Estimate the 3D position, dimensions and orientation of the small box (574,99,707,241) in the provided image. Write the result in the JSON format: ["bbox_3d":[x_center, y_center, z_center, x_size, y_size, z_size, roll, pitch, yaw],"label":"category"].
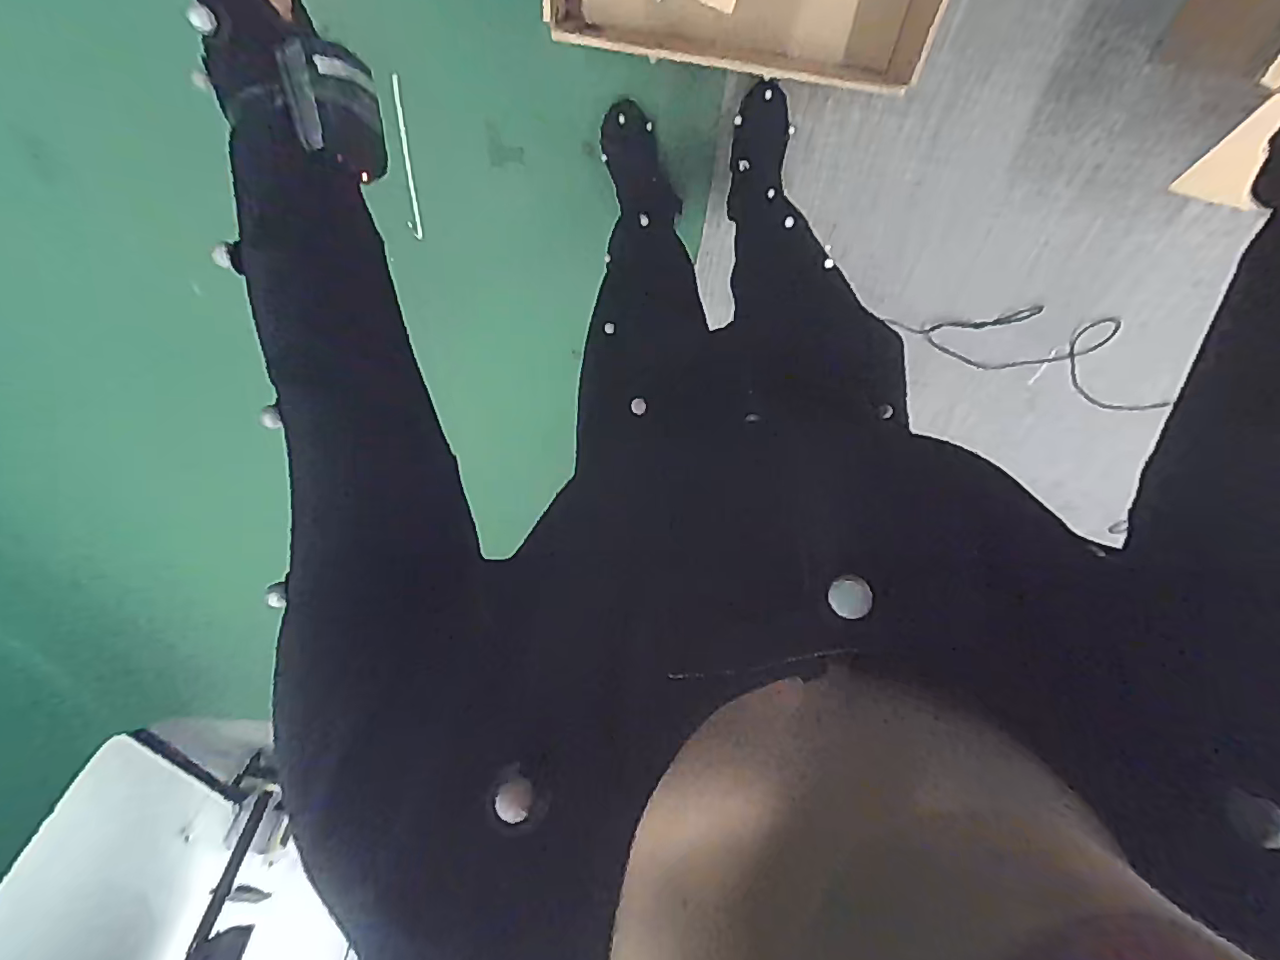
[{"bbox_3d":[0.007,-0.610,1.074,0.176,0.168,0.179,9,115,-47],"label":"small box"}]
